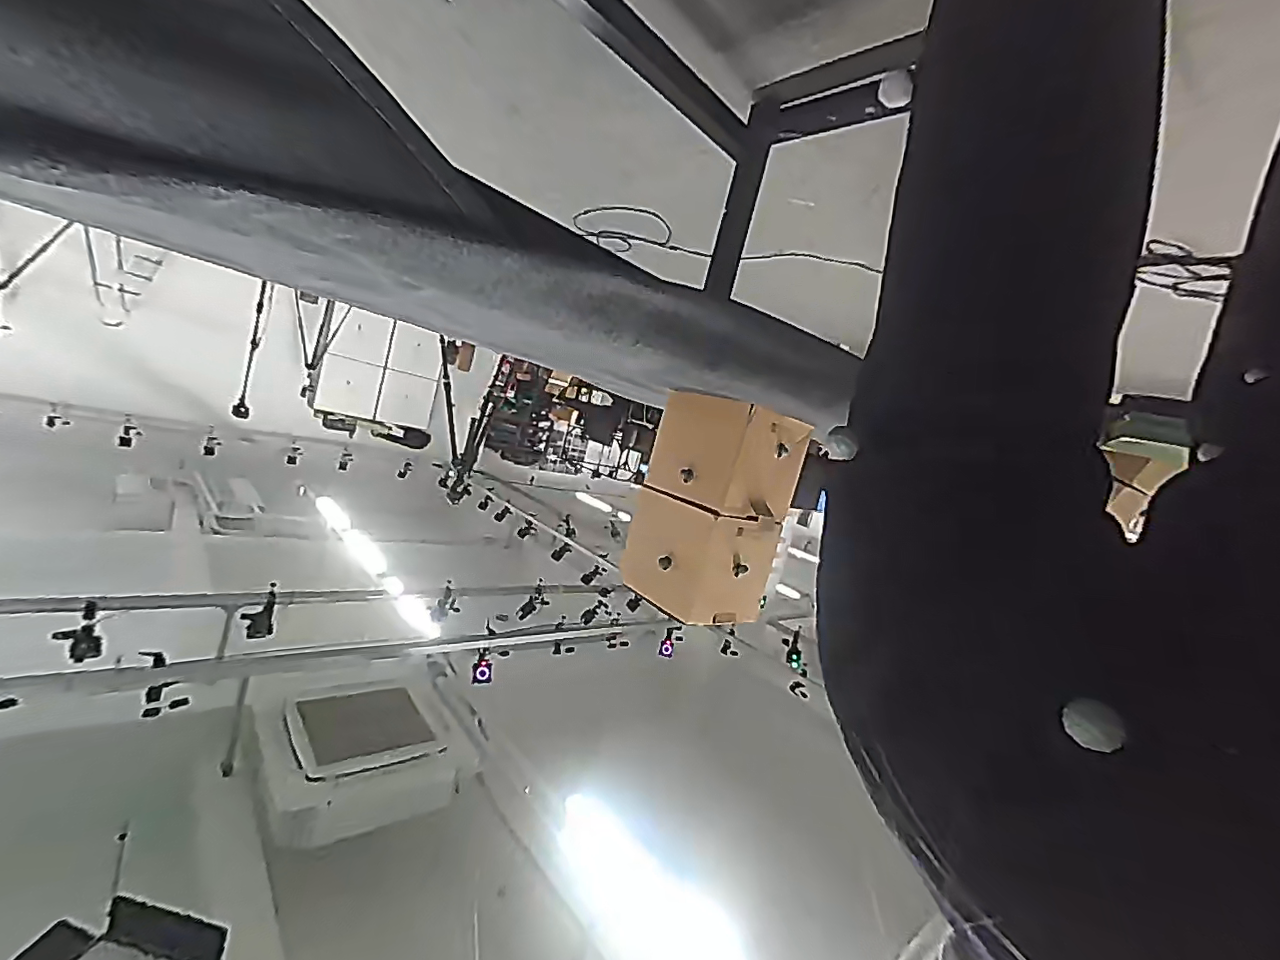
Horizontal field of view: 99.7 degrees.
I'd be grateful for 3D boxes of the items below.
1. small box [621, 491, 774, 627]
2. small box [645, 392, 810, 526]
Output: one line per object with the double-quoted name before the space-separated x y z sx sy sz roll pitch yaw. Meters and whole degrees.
"small box" 0.096 0.120 0.872 0.168 0.176 0.179 11 -174 -40
"small box" 0.140 -0.038 0.862 0.168 0.176 0.179 10 -173 -41
